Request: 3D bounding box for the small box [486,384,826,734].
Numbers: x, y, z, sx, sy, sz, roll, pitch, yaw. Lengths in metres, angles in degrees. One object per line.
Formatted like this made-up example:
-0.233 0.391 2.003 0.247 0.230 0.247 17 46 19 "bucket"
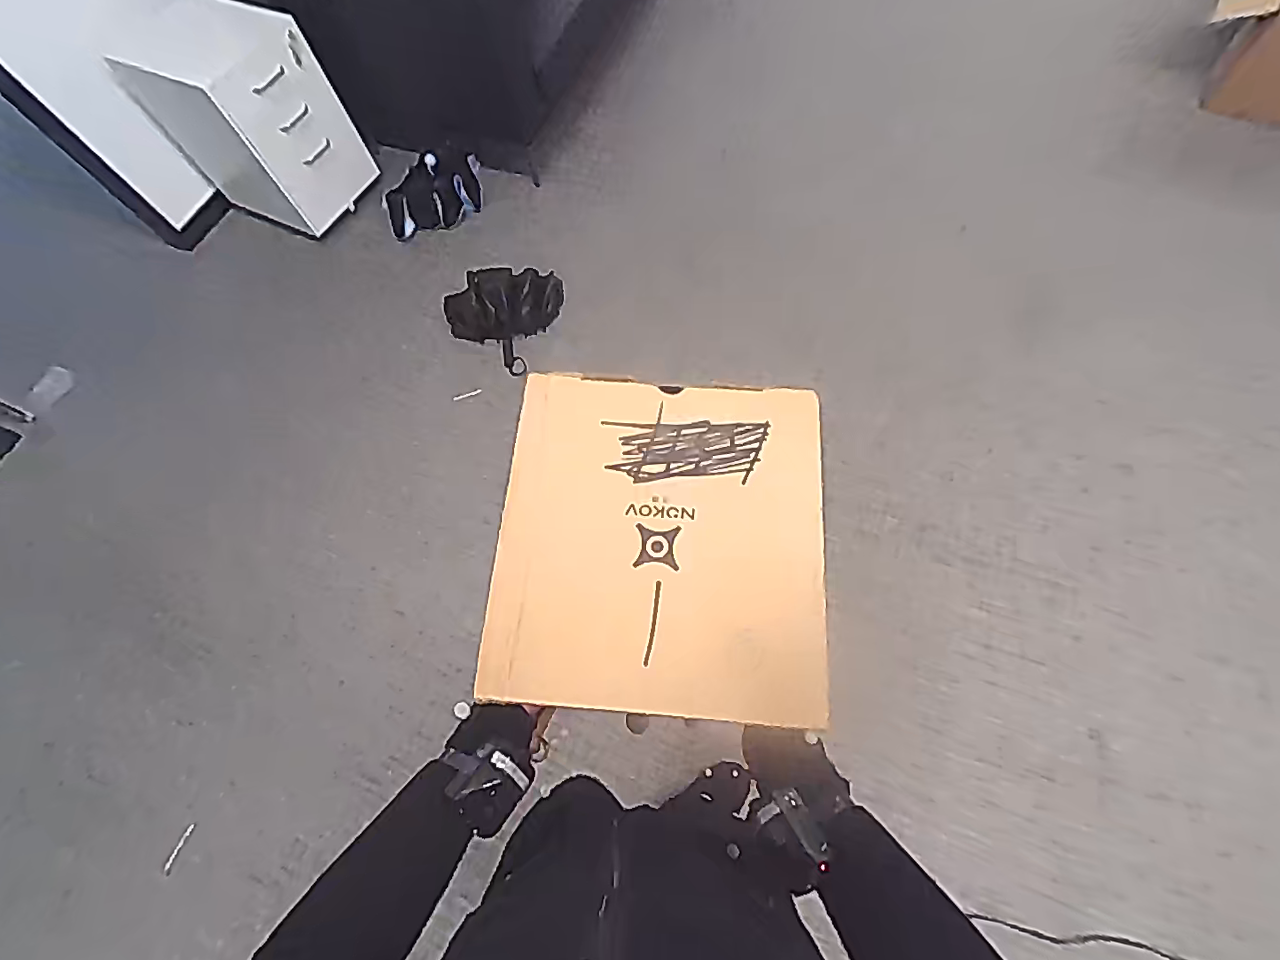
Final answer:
0.014 0.058 0.359 0.168 0.176 0.179 4 71 2 "small box"
